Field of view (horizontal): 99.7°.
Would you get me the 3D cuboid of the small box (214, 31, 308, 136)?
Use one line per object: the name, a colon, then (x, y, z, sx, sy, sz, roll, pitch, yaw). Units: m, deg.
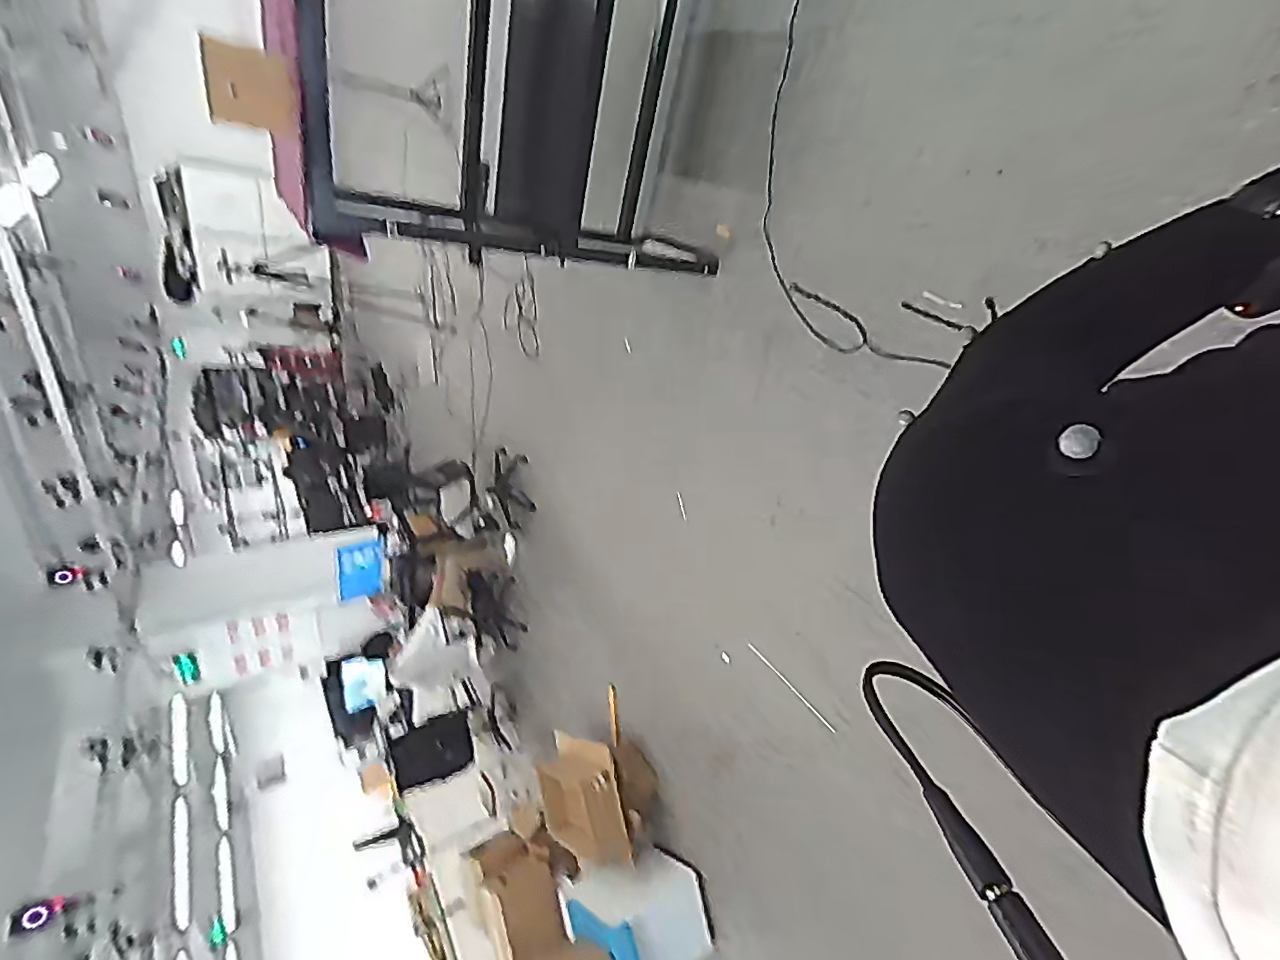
small box: (-0.928, -0.966, 1.330, 0.168, 0.176, 0.179, 41, 128, 42)
